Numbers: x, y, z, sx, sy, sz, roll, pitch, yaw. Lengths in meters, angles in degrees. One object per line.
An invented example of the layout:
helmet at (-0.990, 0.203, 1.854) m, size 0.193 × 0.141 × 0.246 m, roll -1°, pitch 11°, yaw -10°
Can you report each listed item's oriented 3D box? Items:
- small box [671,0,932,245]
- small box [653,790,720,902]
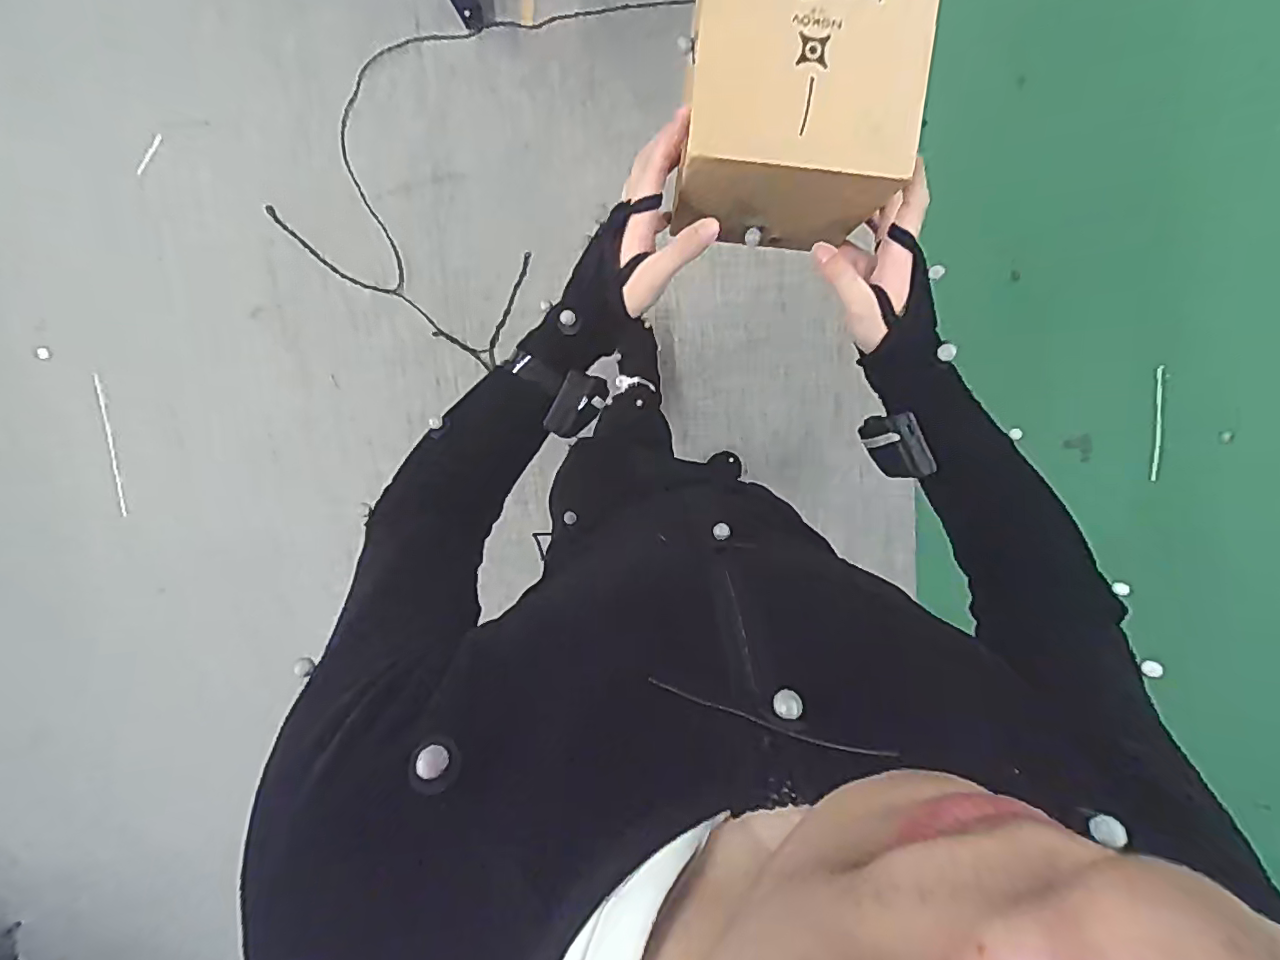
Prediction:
small box at (0.120, -0.326, 0.464) m, size 0.168 × 0.176 × 0.179 m, roll 5°, pitch 96°, yaw -2°
small box at (0.124, 0.972, 1.445) m, size 0.168 × 0.176 × 0.179 m, roll 2°, pitch 98°, yaw 4°
